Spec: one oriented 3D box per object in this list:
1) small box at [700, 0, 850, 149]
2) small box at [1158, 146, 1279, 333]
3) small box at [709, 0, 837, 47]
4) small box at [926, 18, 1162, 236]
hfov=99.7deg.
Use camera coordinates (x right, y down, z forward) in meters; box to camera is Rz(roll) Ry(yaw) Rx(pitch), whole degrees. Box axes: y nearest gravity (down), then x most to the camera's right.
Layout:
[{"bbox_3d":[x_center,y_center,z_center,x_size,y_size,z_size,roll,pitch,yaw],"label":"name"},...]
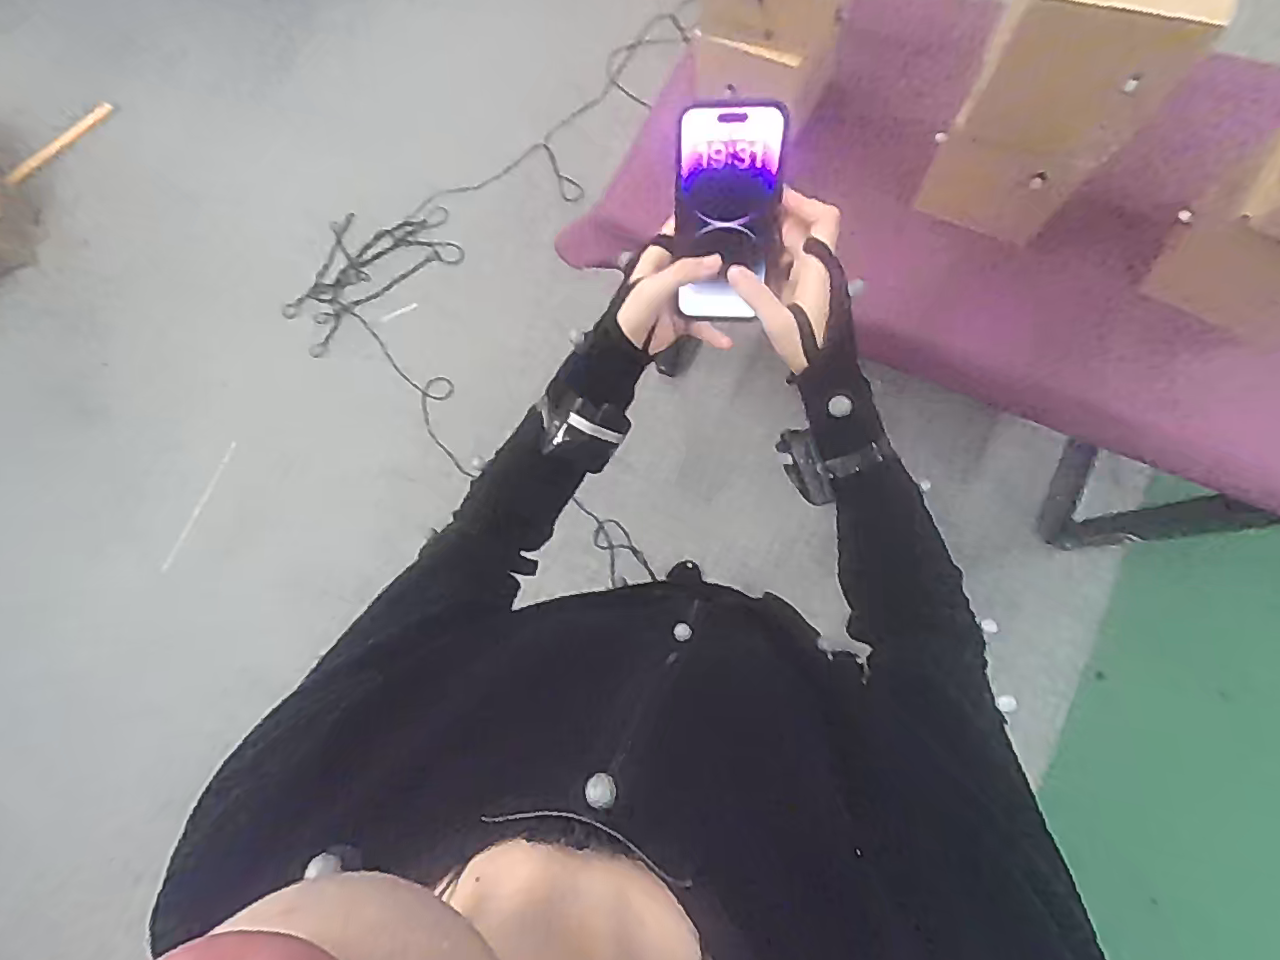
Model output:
[{"bbox_3d":[0.211,-0.665,0.843,0.168,0.176,0.179,28,84,14],"label":"small box"},{"bbox_3d":[0.825,-0.309,0.668,0.179,0.176,0.168,34,85,14],"label":"small box"},{"bbox_3d":[0.189,-0.705,0.685,0.168,0.176,0.179,23,84,12],"label":"small box"},{"bbox_3d":[0.538,-0.473,0.748,0.179,0.176,0.168,27,84,14],"label":"small box"}]
